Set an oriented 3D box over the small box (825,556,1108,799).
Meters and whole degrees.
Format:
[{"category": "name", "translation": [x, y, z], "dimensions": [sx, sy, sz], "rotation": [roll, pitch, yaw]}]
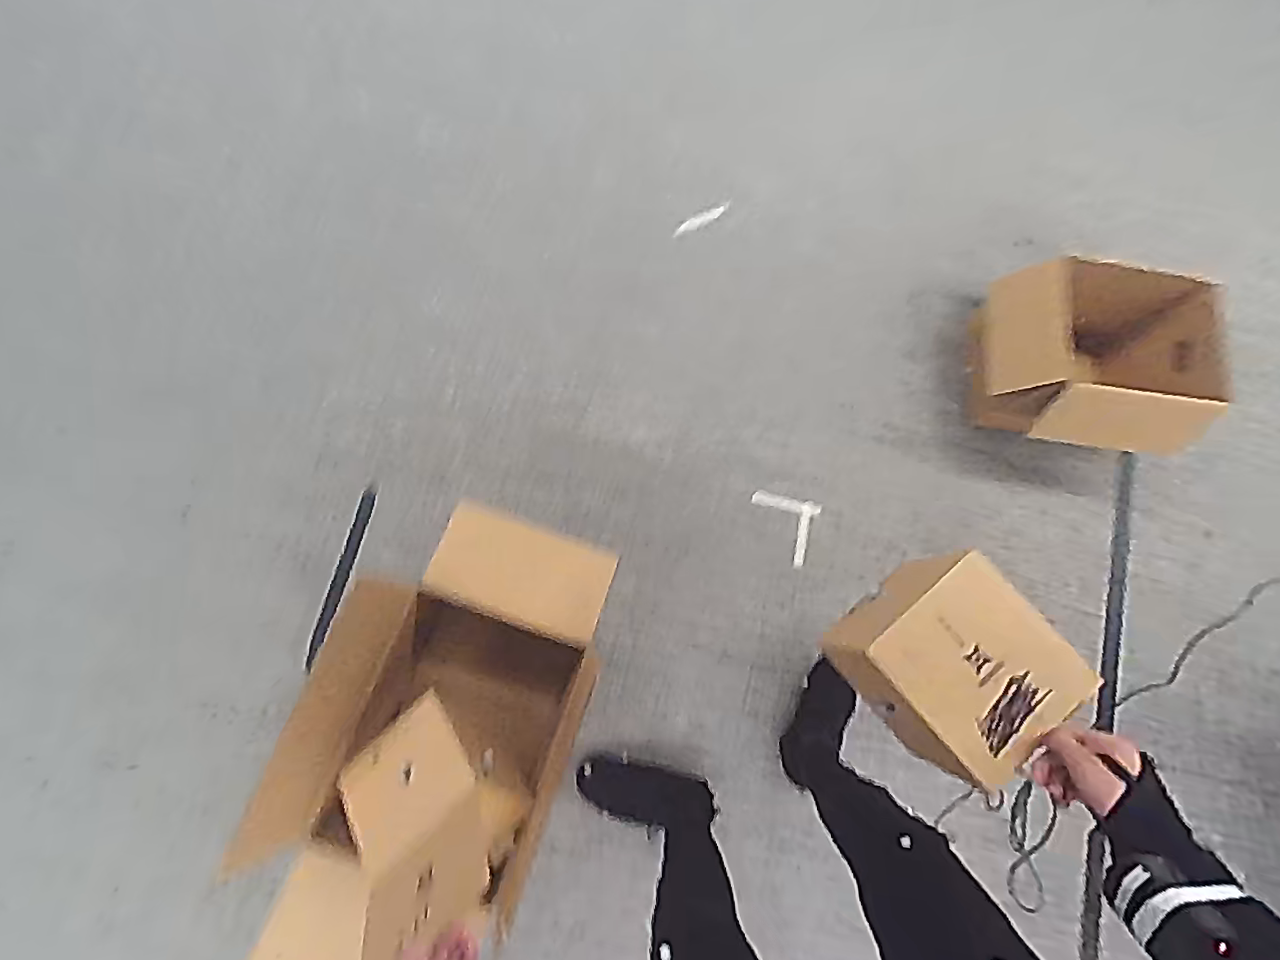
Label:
[{"category": "small box", "translation": [0.348, 0.208, 0.614], "dimensions": [0.168, 0.176, 0.179], "rotation": [-39, 78, -9]}]
